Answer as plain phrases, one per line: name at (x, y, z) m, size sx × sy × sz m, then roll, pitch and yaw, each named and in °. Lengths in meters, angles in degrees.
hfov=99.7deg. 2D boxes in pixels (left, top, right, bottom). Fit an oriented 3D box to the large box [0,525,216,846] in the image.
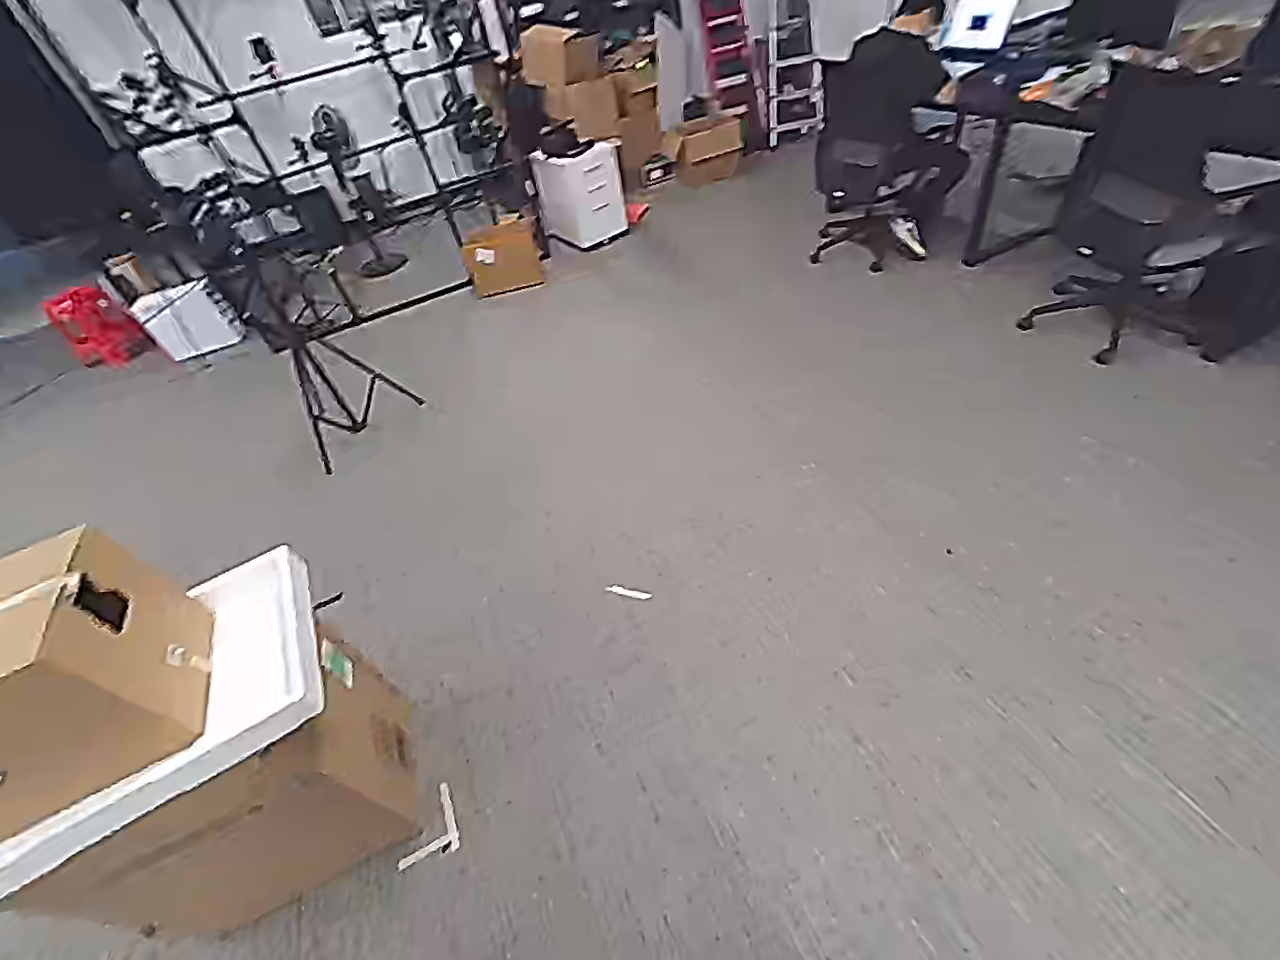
large box at (-1.038, 0.355, 0.922) m, size 0.408 × 0.320 × 0.320 m, roll -28°, pitch 45°, yaw -12°
